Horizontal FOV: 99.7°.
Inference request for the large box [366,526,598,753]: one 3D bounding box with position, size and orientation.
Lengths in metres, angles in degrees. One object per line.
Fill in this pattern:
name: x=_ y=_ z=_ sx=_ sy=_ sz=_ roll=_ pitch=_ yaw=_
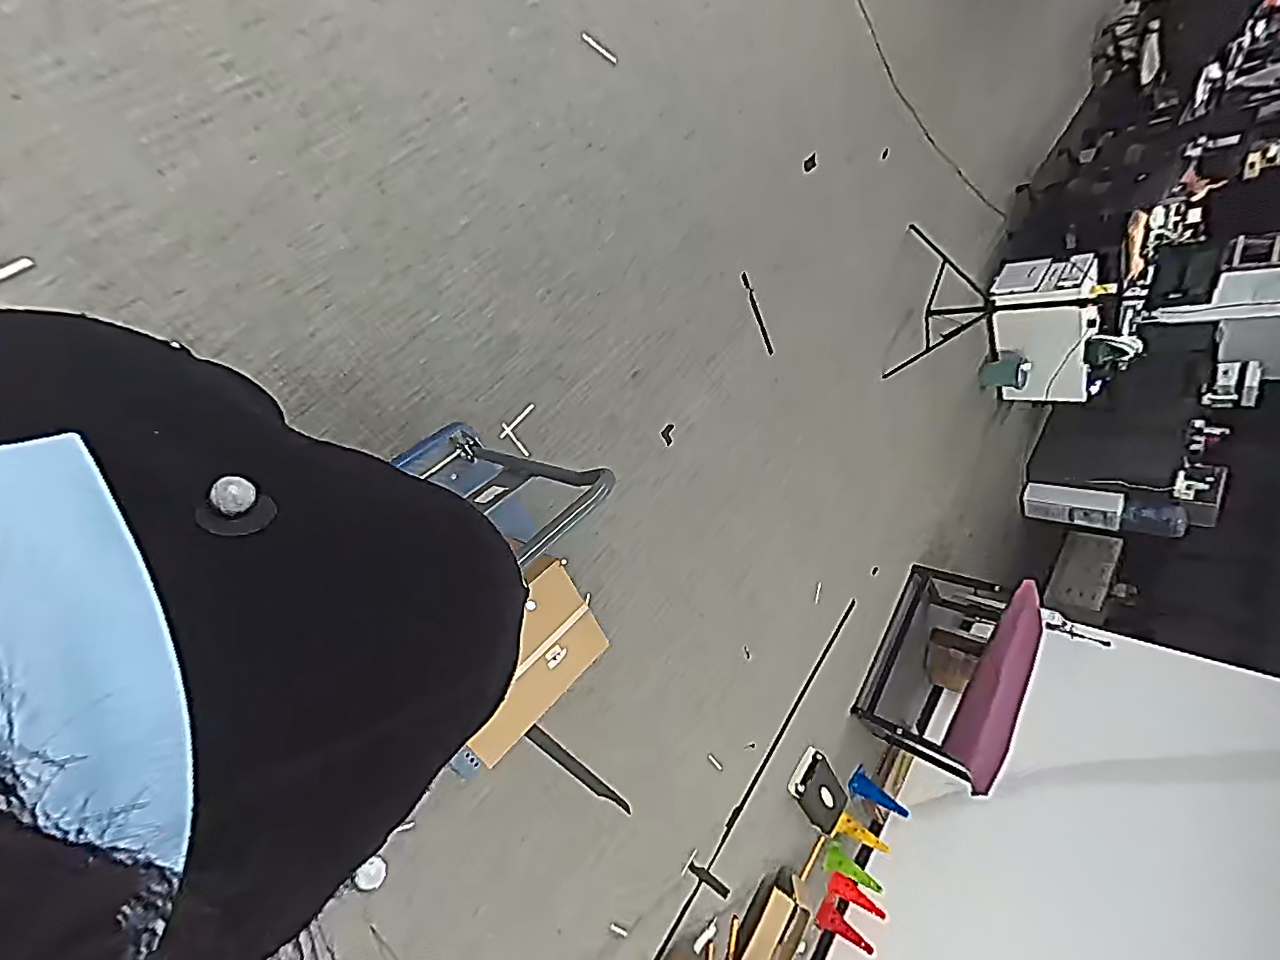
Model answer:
large box: x=-0.392 y=0.377 z=1.376 sx=0.408 sy=0.320 sz=0.320 roll=-43 pitch=124 yaw=-29
